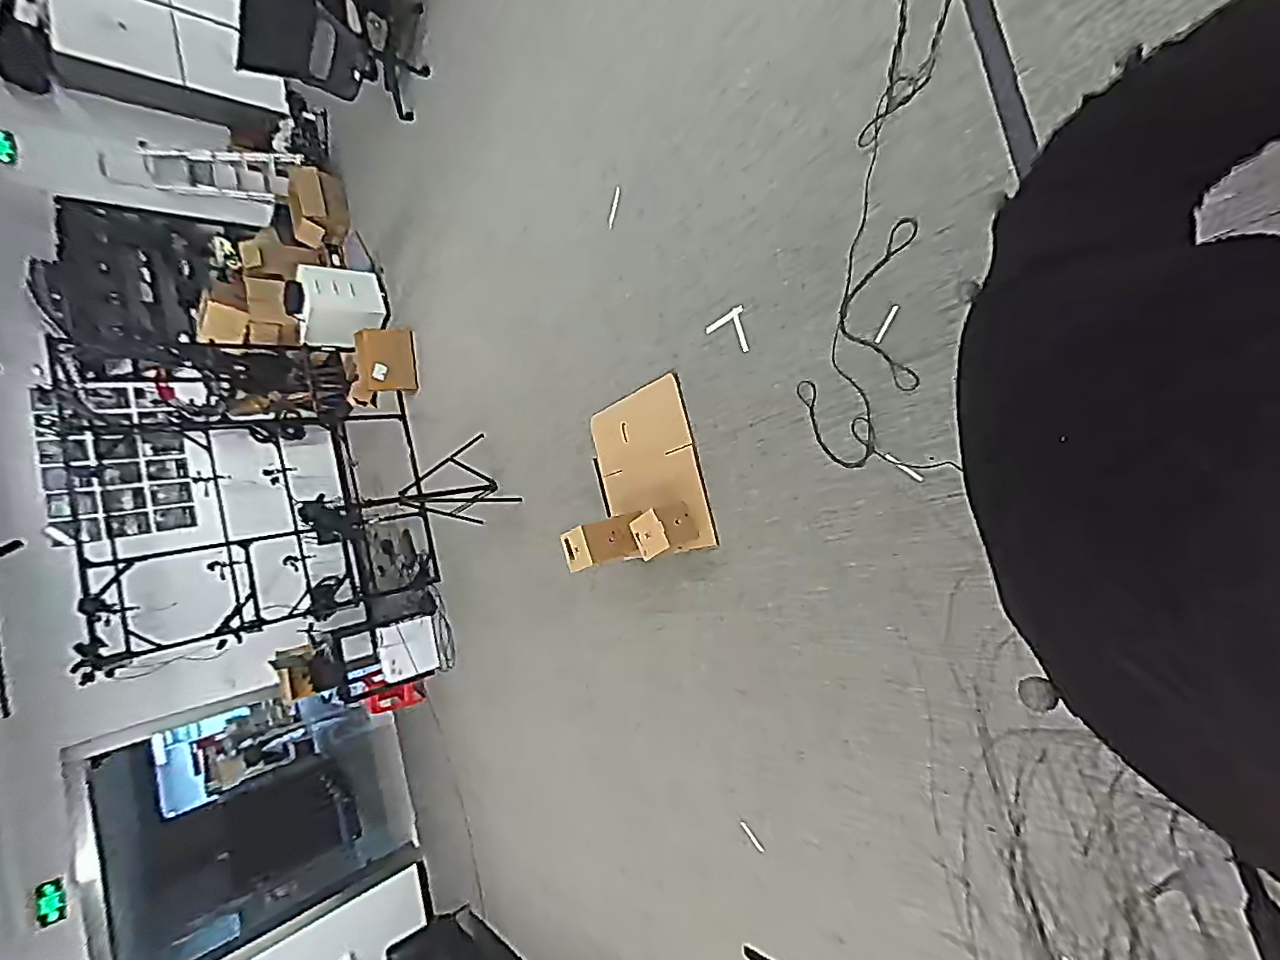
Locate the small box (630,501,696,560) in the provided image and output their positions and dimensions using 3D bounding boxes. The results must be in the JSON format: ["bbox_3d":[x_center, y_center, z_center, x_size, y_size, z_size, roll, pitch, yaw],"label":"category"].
[{"bbox_3d":[0.099,0.194,2.127,0.179,0.176,0.168,-38,69,45],"label":"small box"}]

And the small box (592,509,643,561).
[{"bbox_3d":[-0.075,0.239,2.343,0.179,0.176,0.168,-33,73,47],"label":"small box"}]
